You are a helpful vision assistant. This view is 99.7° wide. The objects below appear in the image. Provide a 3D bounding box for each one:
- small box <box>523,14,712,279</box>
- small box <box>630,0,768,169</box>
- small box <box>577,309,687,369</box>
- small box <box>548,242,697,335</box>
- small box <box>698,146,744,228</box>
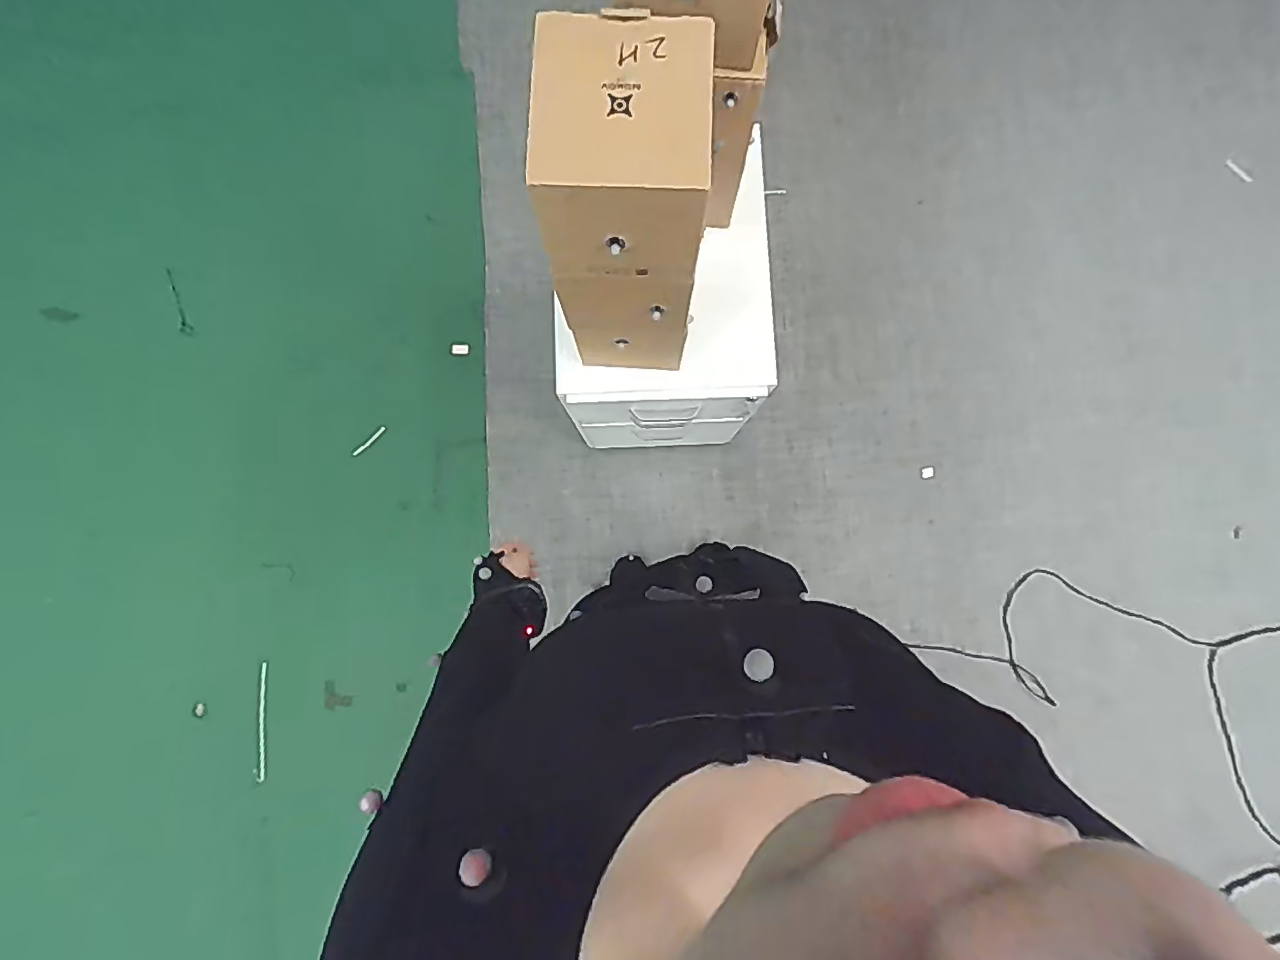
[{"bbox_3d":[-0.018,-0.331,0.568,0.168,0.176,0.179,2,81,0],"label":"small box"},{"bbox_3d":[0.074,-0.570,0.761,0.179,0.176,0.168,4,84,0],"label":"small box"},{"bbox_3d":[-0.013,-0.290,0.891,0.179,0.176,0.168,4,83,0],"label":"small box"},{"bbox_3d":[-0.017,-0.307,0.731,0.179,0.176,0.168,3,82,1],"label":"small box"},{"bbox_3d":[0.081,-0.555,0.923,0.179,0.176,0.168,5,84,2],"label":"small box"}]
